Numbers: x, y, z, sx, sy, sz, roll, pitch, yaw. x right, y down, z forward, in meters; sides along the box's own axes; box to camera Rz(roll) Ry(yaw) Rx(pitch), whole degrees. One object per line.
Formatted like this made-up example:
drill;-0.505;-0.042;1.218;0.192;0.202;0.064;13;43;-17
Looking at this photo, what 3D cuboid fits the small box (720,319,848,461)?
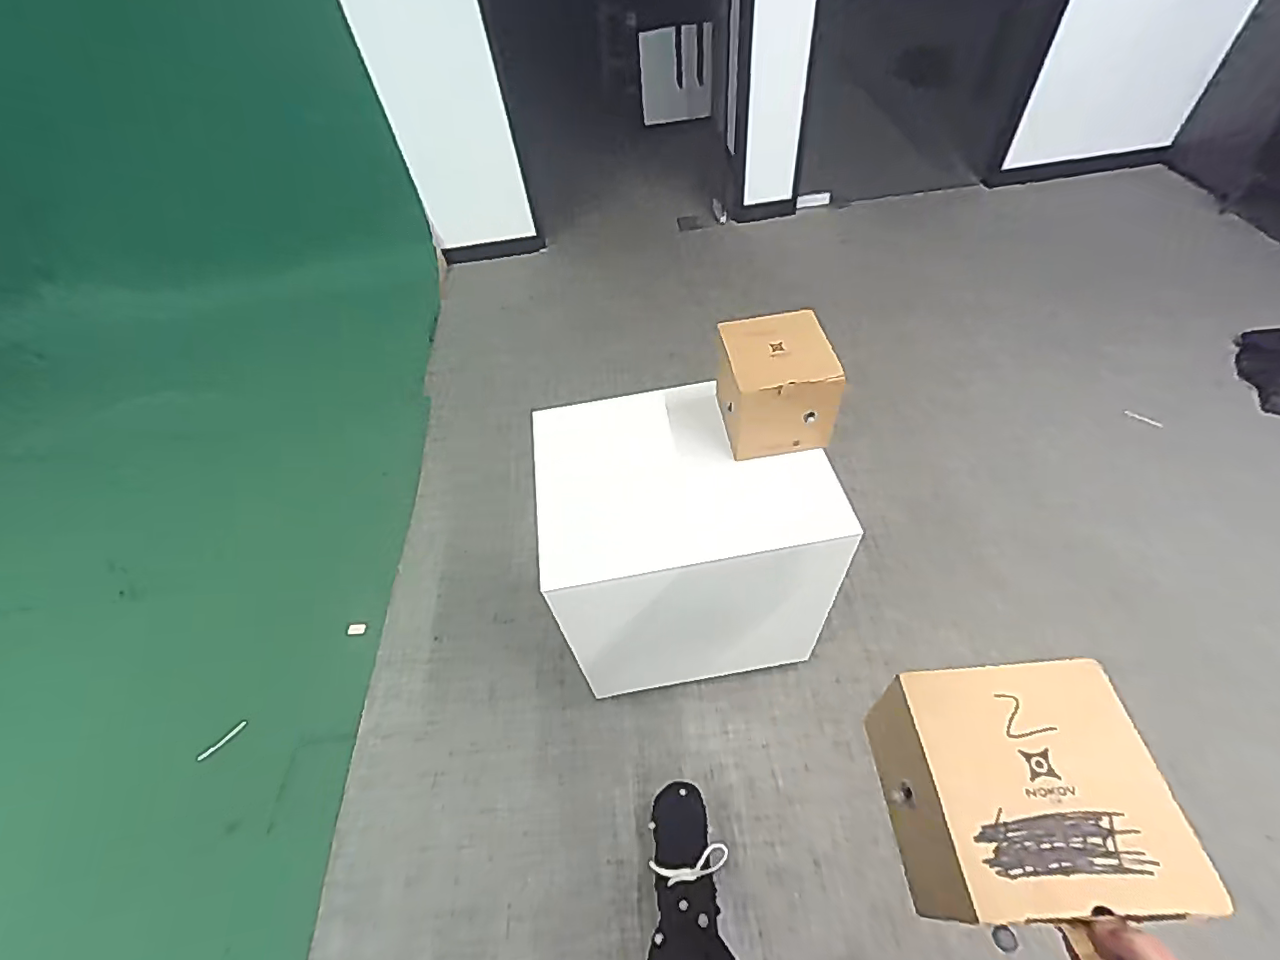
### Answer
small box;0.235;-0.147;0.930;0.168;0.176;0.179;-8;51;0
